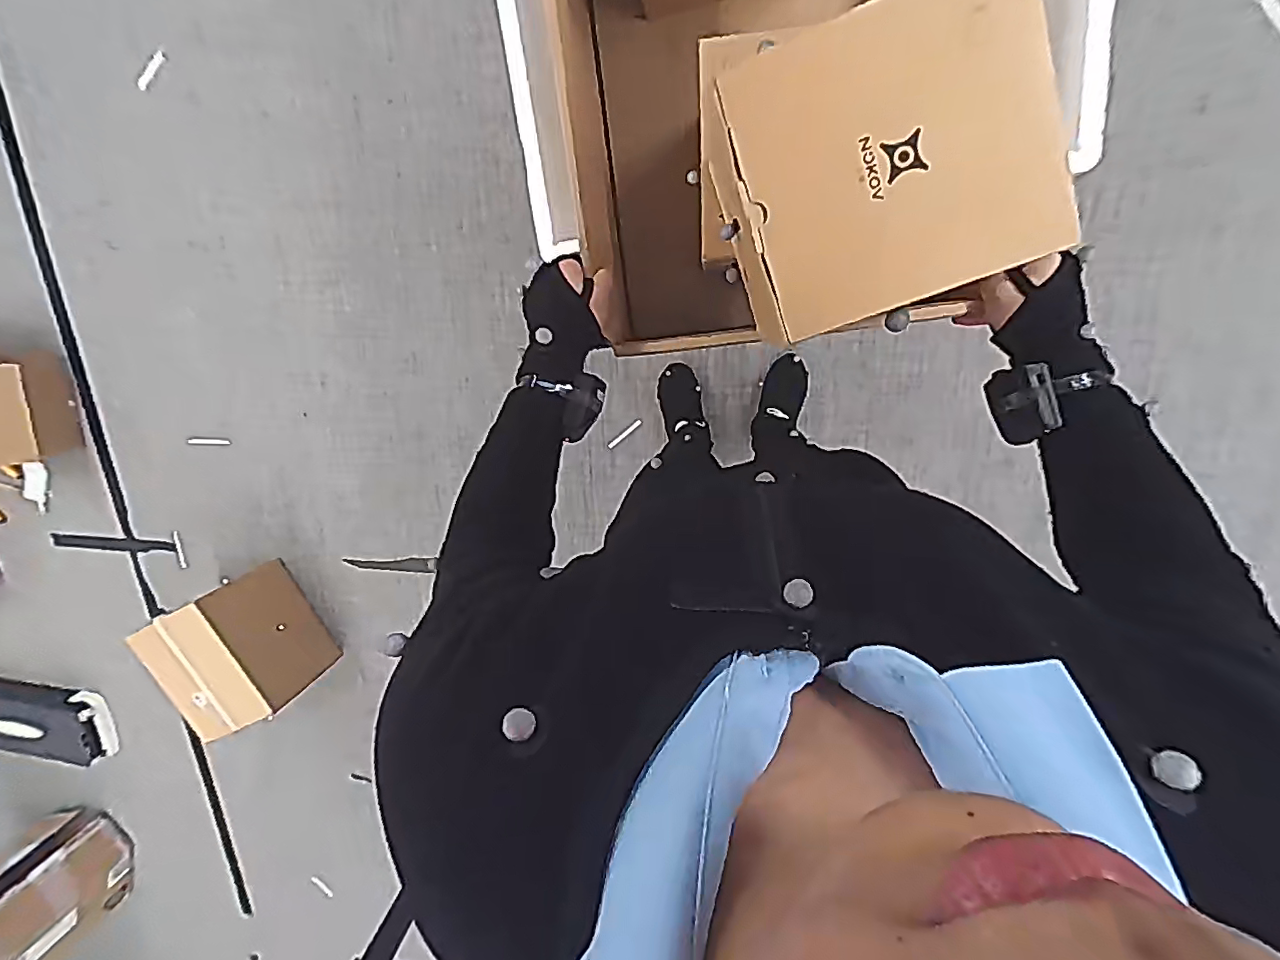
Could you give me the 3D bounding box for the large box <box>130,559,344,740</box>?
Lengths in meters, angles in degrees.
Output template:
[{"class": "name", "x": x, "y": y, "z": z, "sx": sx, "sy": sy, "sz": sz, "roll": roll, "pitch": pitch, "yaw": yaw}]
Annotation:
[{"class": "large box", "x": -1.266, "y": 0.532, "z": 1.737, "sx": 0.320, "sy": 0.320, "sz": 0.408, "roll": -25, "pitch": 102, "yaw": 16}]
